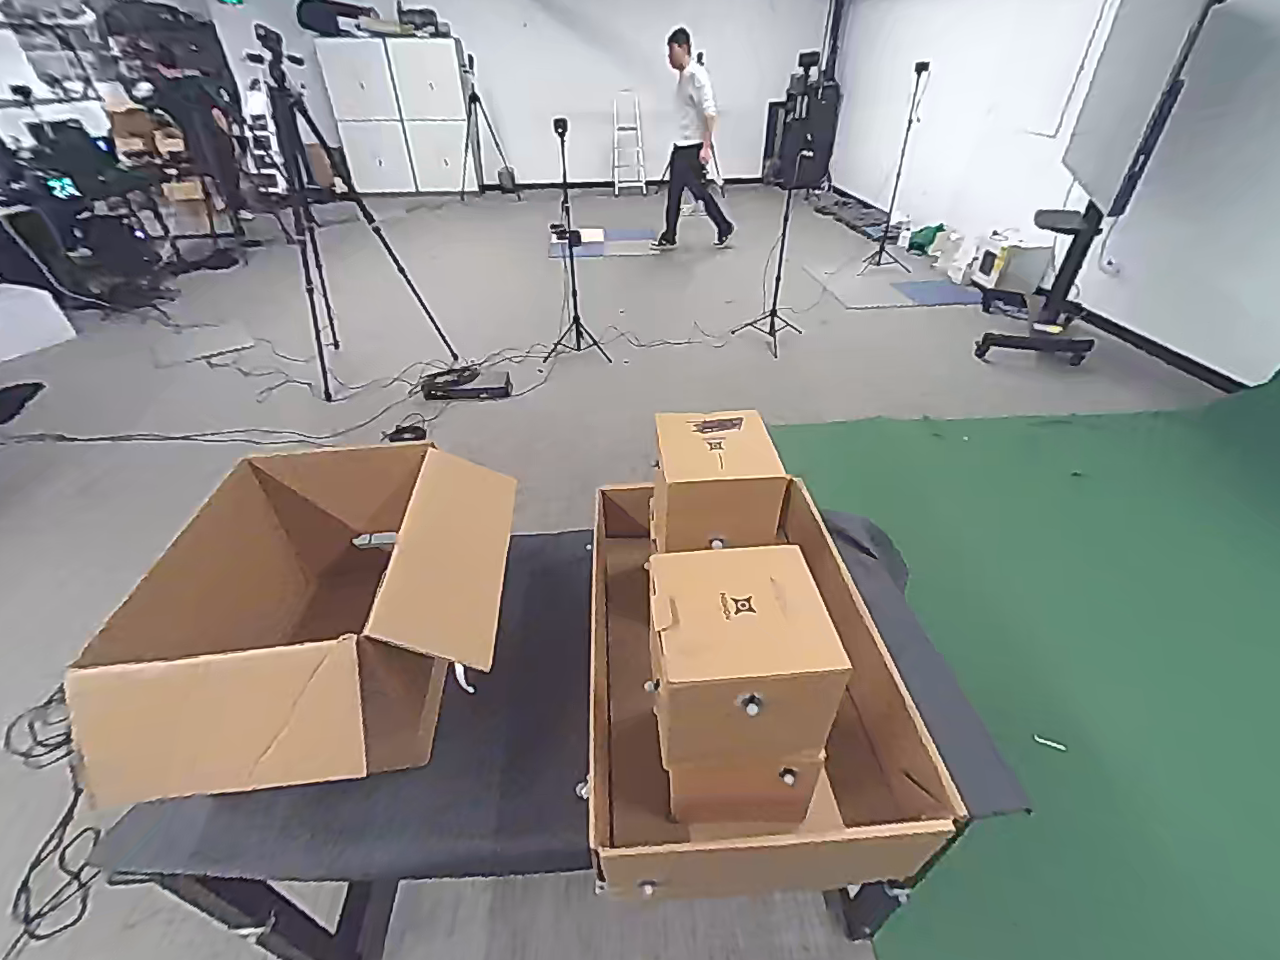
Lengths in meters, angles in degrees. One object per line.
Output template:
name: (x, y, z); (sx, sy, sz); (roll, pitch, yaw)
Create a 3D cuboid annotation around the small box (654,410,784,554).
small box: (0.109, 0.009, 0.838); (0.168, 0.176, 0.179); (-3, 40, -2)

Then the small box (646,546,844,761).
small box: (0.102, 0.195, 0.609); (0.179, 0.176, 0.168); (-3, 39, -4)
